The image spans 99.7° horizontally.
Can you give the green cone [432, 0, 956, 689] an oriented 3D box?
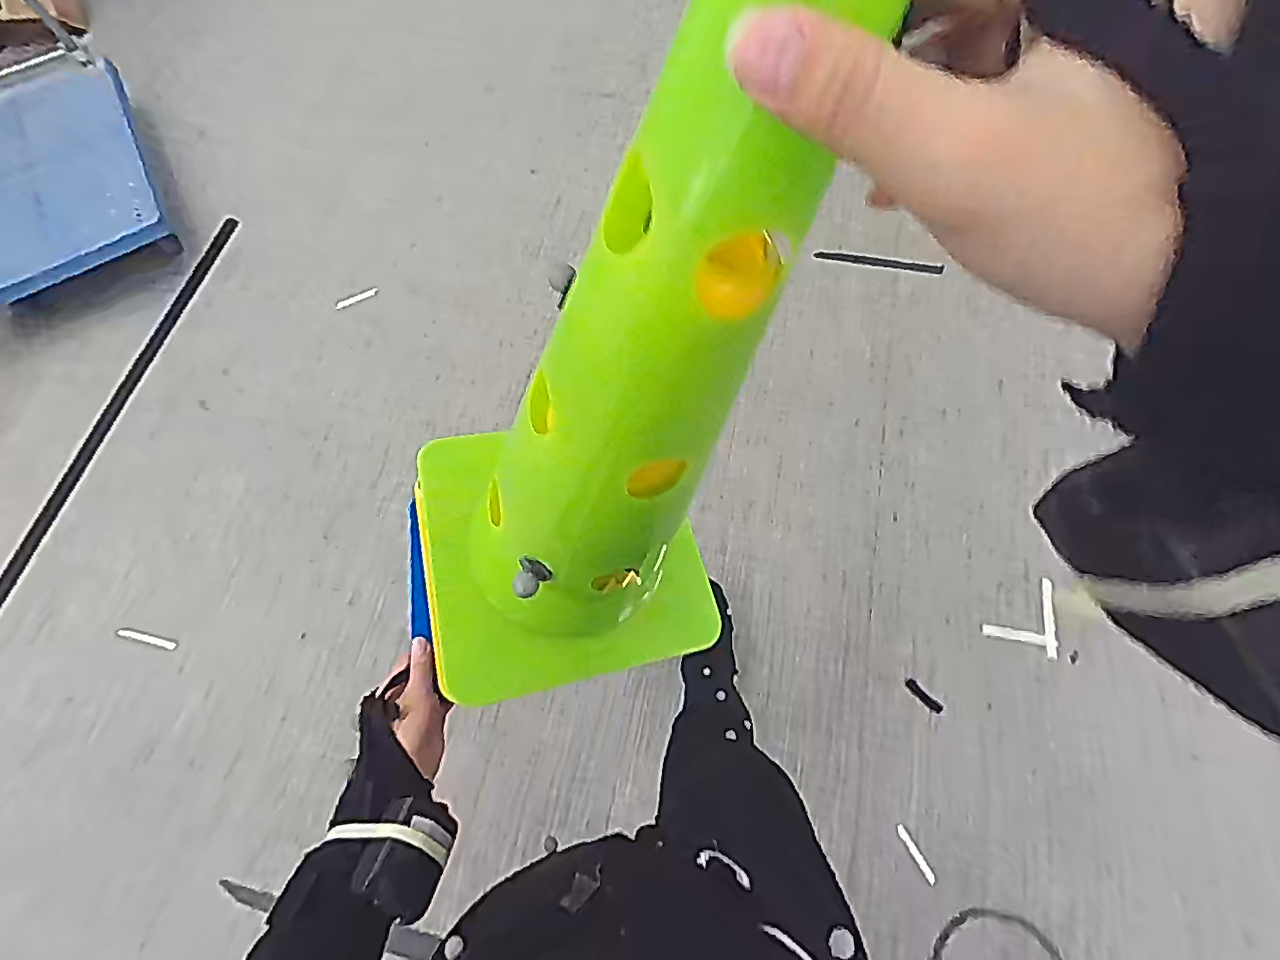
[{"bbox_3d":[0.002,-0.044,0.259,0.200,0.368,0.202,-8,66,-21],"label":"green cone"}]
